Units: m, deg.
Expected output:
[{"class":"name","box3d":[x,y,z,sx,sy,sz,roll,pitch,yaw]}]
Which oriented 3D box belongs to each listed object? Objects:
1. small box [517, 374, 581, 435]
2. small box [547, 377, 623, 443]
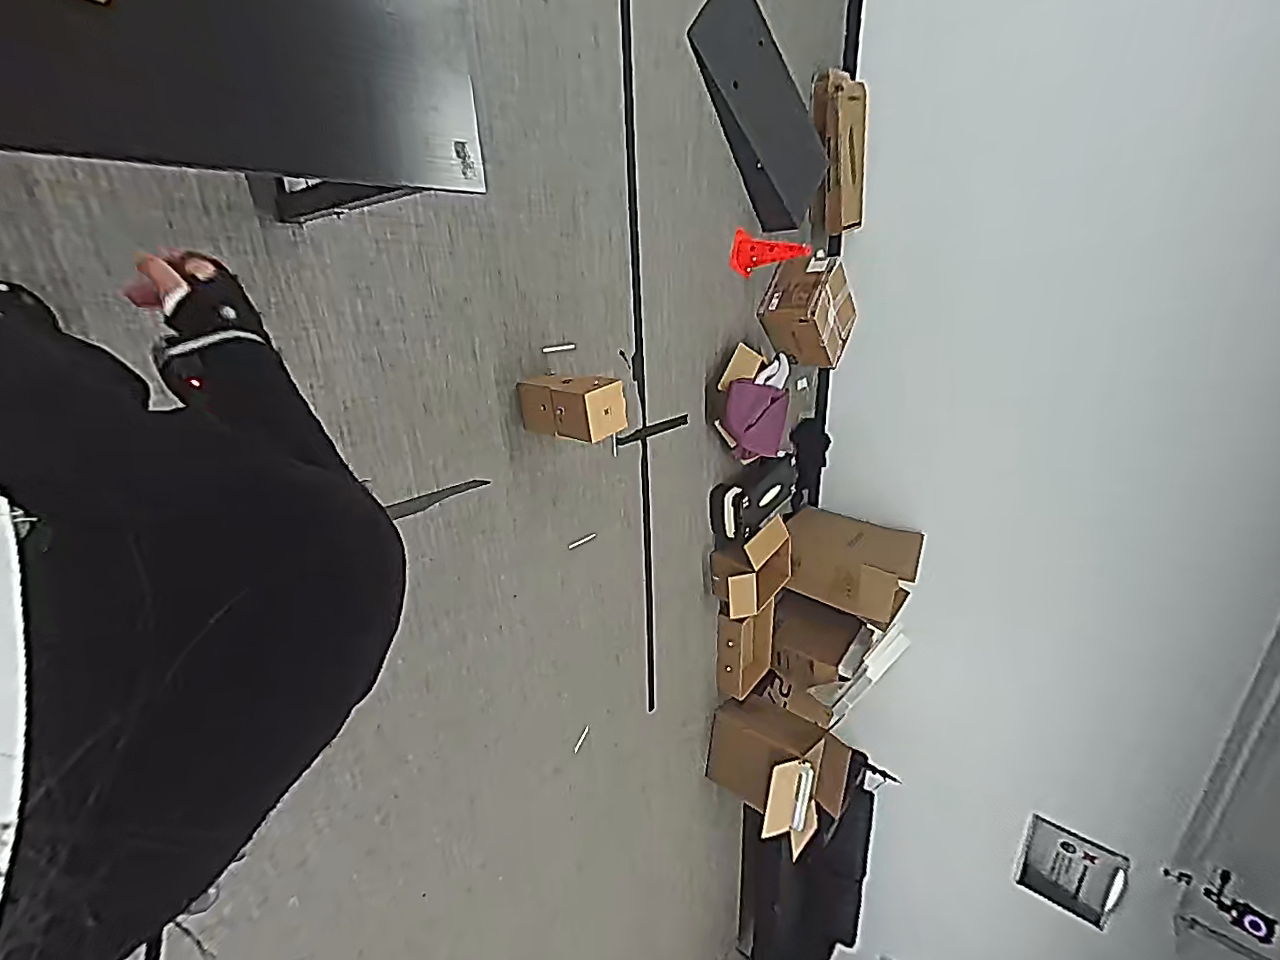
[{"class":"small box","box3d":[-0.312,-0.270,1.887,0.168,0.176,0.179,-27,123,-43]},{"class":"small box","box3d":[-0.180,-0.240,1.795,0.179,0.176,0.168,-30,123,-41]}]
